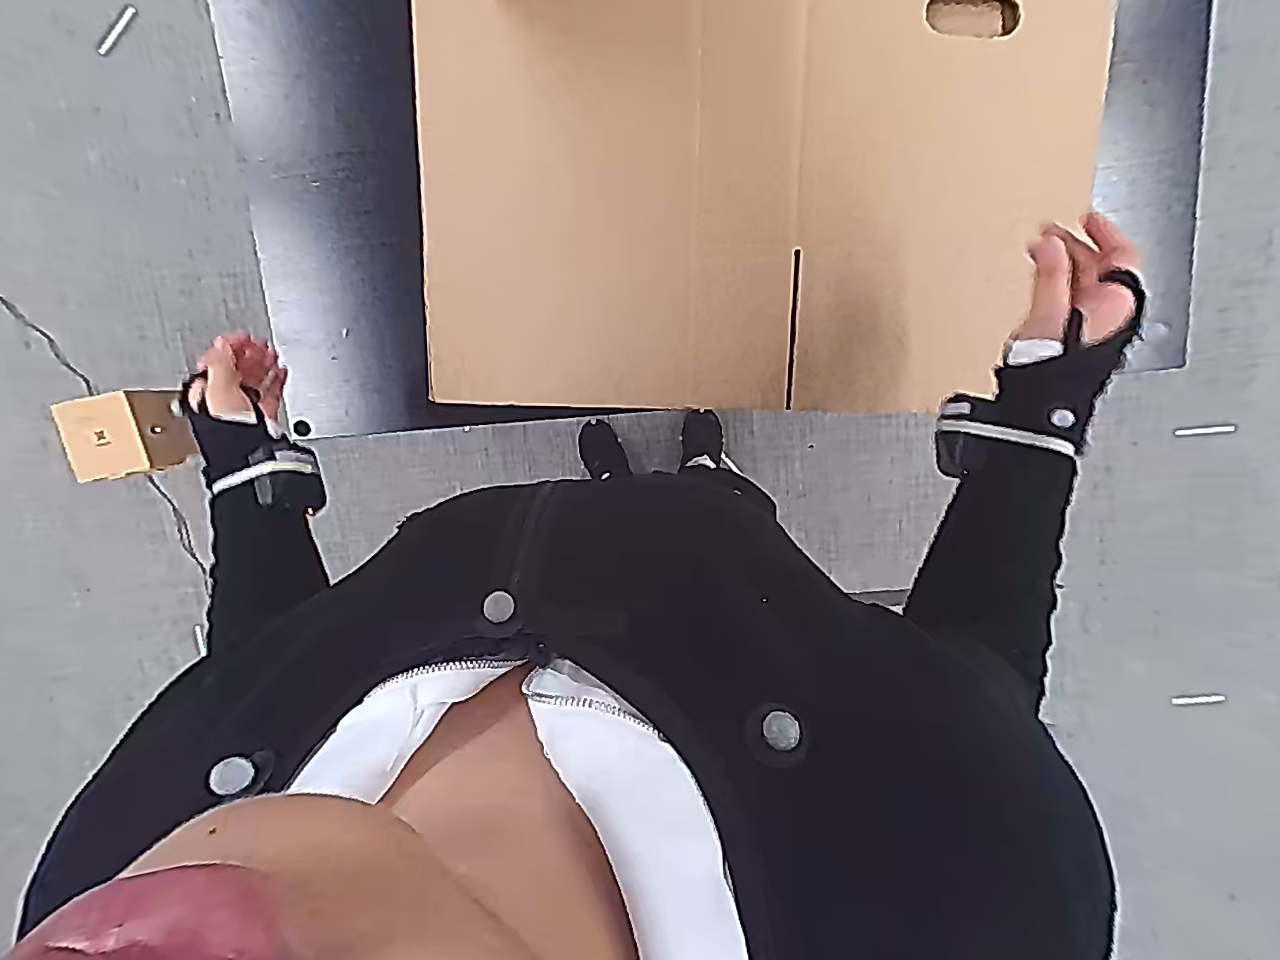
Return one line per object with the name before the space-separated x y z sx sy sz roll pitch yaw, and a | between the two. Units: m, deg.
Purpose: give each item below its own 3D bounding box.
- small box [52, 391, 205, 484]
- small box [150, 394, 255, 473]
small box | -1.148 -0.103 1.231 0.168 0.176 0.179 -12 98 1
small box | -1.145 -0.124 1.392 0.168 0.176 0.179 -9 100 2
